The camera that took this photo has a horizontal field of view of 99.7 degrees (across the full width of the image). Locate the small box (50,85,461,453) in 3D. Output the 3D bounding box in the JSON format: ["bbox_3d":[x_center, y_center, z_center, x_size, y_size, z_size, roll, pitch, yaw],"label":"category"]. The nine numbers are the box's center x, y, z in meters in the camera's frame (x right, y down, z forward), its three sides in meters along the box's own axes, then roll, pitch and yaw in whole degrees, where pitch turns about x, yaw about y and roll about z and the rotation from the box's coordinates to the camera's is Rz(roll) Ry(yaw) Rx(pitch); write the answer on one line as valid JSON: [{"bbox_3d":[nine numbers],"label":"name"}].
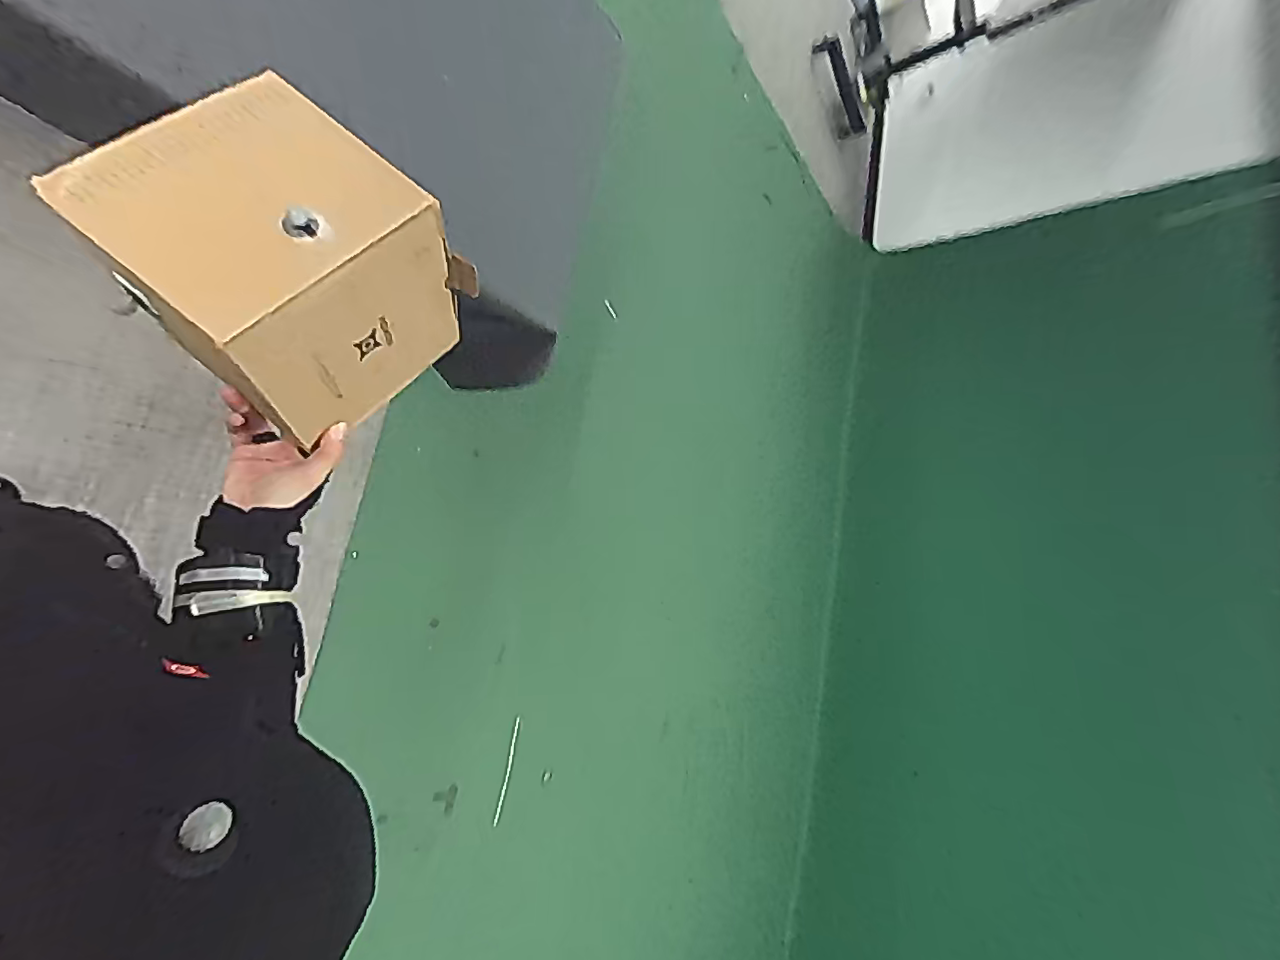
[{"bbox_3d":[-0.270,-0.160,0.427,0.176,0.168,0.179,39,66,3],"label":"small box"}]
